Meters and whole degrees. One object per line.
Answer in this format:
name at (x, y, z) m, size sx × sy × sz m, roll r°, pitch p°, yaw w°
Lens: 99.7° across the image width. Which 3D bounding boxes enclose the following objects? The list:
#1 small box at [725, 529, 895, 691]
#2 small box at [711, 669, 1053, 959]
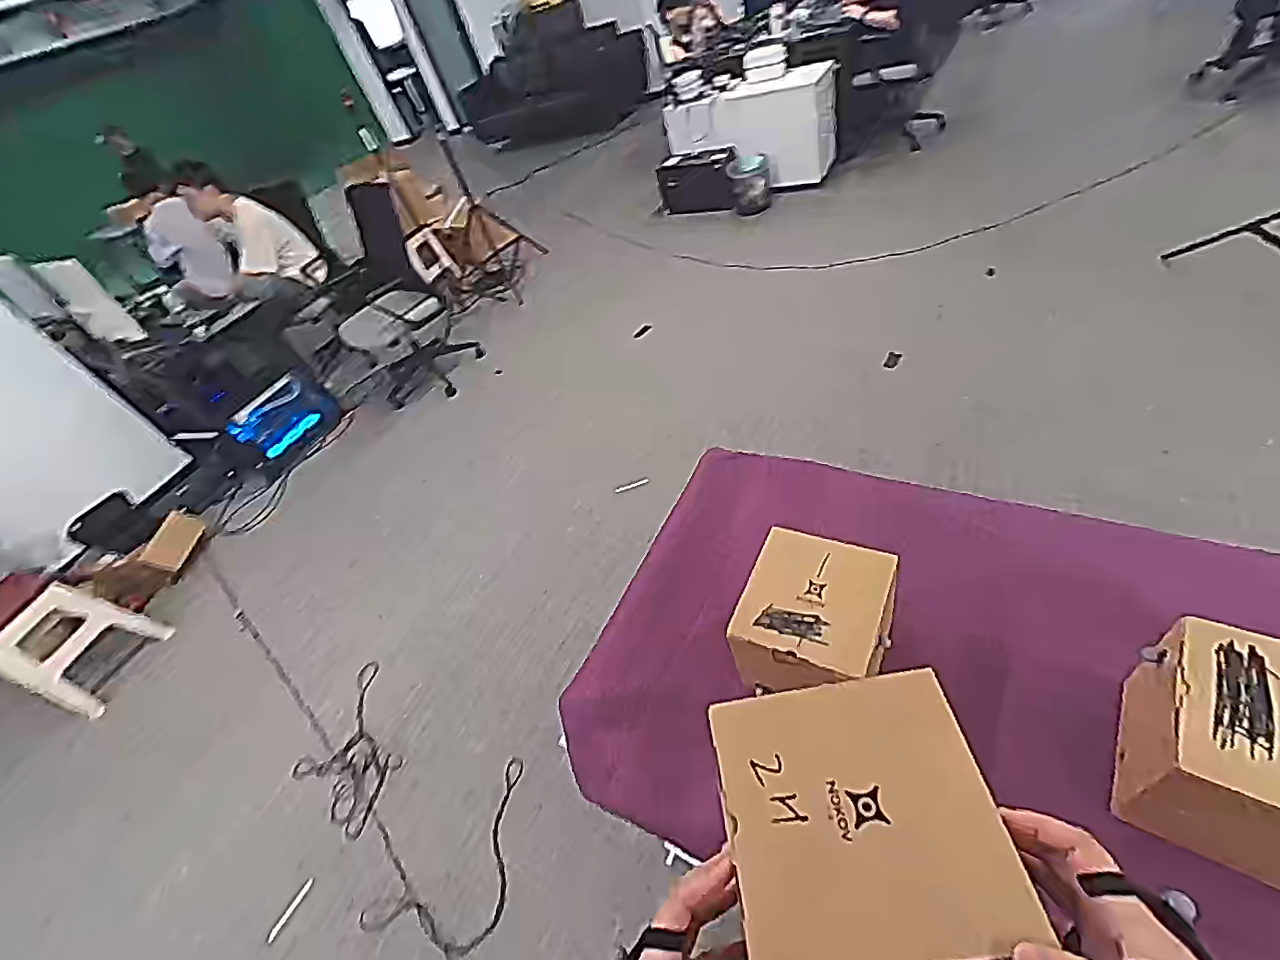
small box at (0.234, 0.199, 0.727) m, size 0.168 × 0.176 × 0.179 m, roll 13°, pitch 53°, yaw 30°
small box at (0.162, 0.271, 0.424) m, size 0.179 × 0.176 × 0.168 m, roll -12°, pitch 46°, yaw 7°
